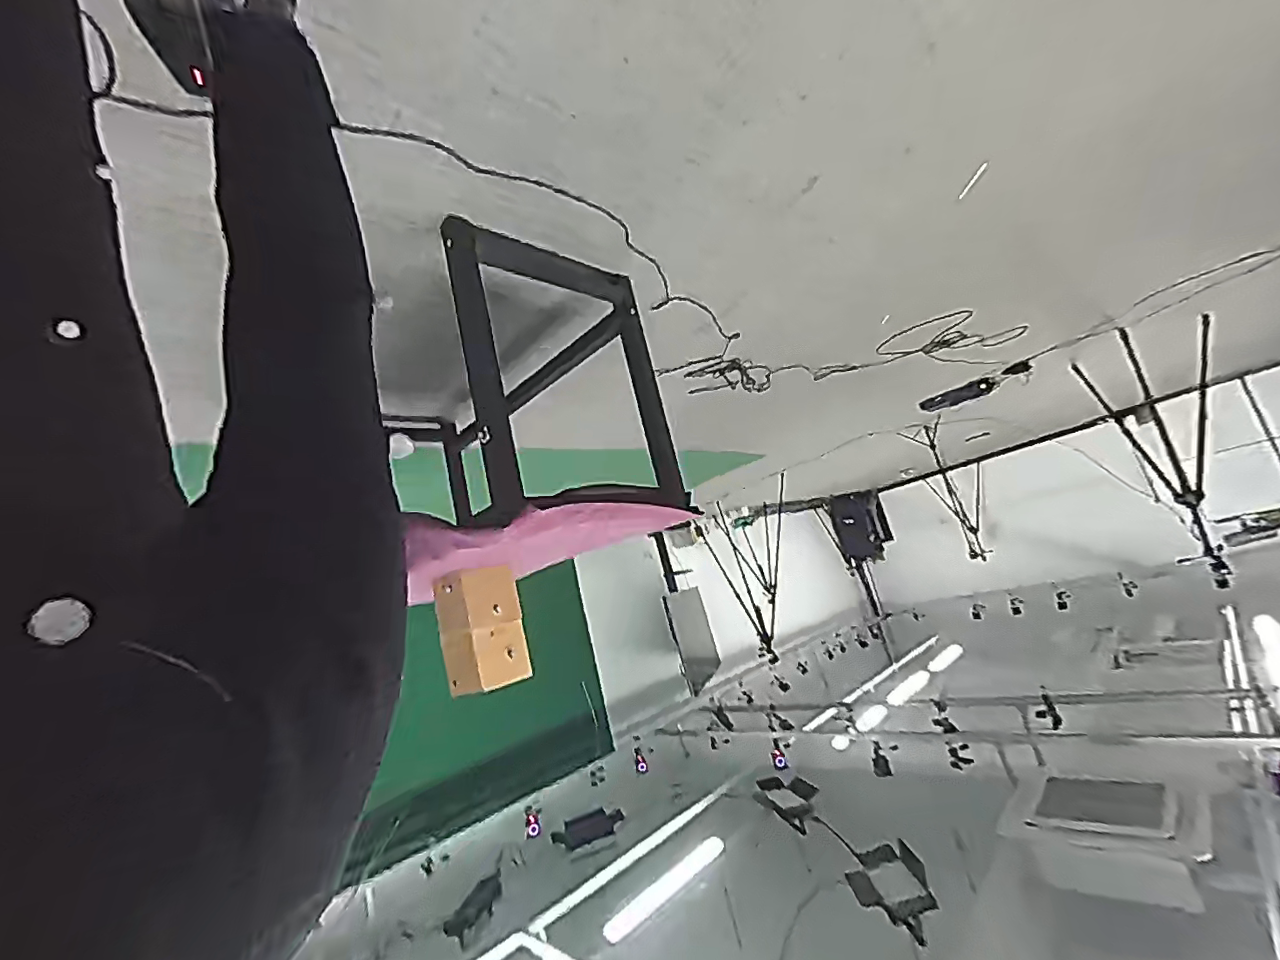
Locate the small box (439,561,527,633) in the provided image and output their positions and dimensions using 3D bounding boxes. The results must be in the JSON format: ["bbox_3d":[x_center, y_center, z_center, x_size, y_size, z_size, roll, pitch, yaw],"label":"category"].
[{"bbox_3d":[-0.465,0.340,1.595,0.168,0.176,0.179,-24,165,37],"label":"small box"}]

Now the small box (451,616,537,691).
[{"bbox_3d":[-0.429,0.496,1.570,0.179,0.176,0.168,-24,166,39],"label":"small box"}]
